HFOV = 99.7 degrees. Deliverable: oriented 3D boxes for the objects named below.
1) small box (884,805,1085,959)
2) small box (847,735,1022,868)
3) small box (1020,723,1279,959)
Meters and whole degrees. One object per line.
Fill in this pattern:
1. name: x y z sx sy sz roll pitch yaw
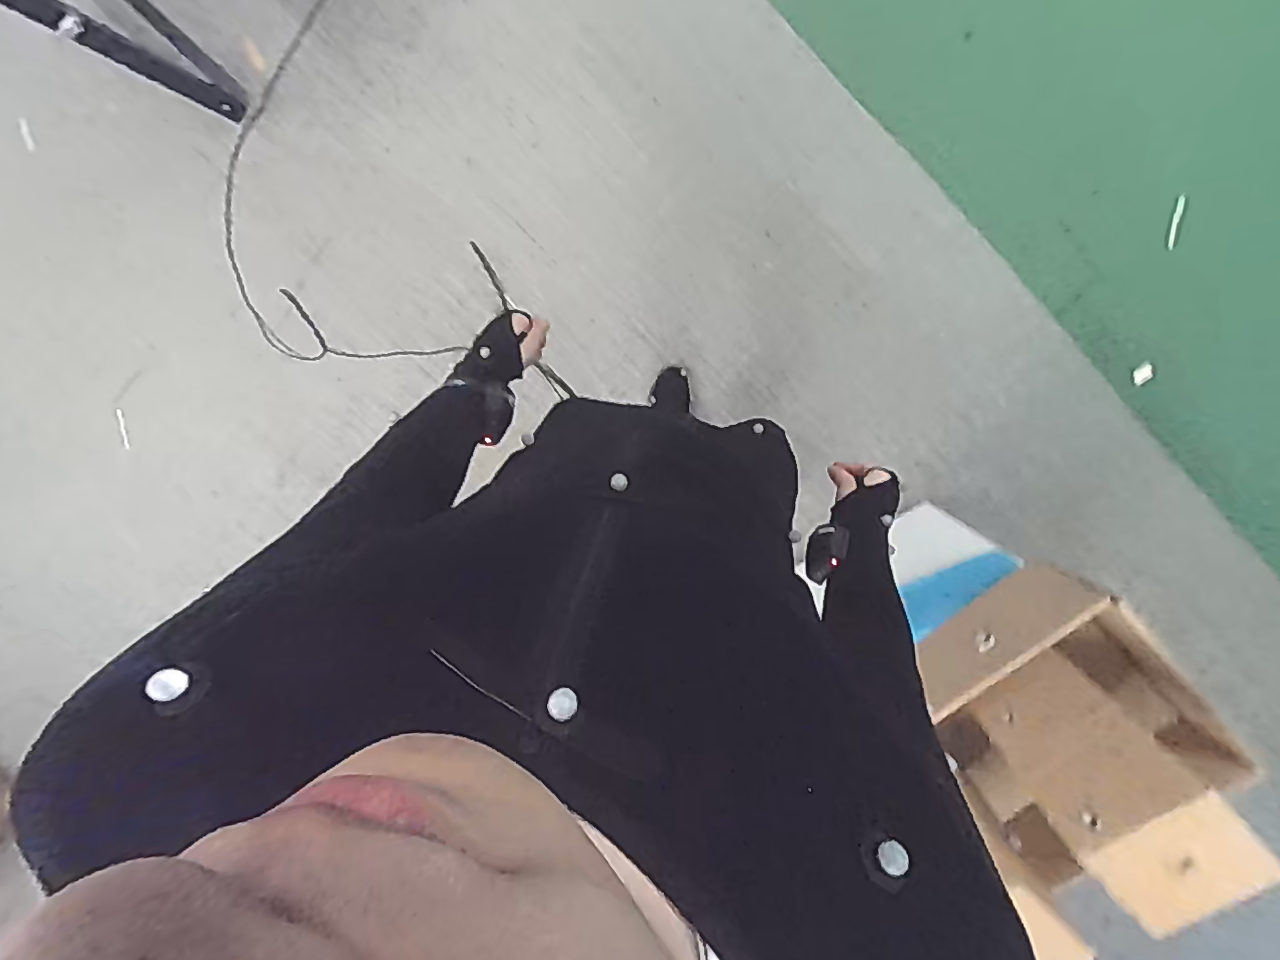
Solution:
1. small box: 0.482 0.624 0.777 0.179 0.176 0.168 -43 96 11
2. small box: 0.494 0.587 0.937 0.179 0.176 0.168 -42 96 11
3. small box: 0.674 0.471 0.728 0.179 0.176 0.168 -43 96 15
